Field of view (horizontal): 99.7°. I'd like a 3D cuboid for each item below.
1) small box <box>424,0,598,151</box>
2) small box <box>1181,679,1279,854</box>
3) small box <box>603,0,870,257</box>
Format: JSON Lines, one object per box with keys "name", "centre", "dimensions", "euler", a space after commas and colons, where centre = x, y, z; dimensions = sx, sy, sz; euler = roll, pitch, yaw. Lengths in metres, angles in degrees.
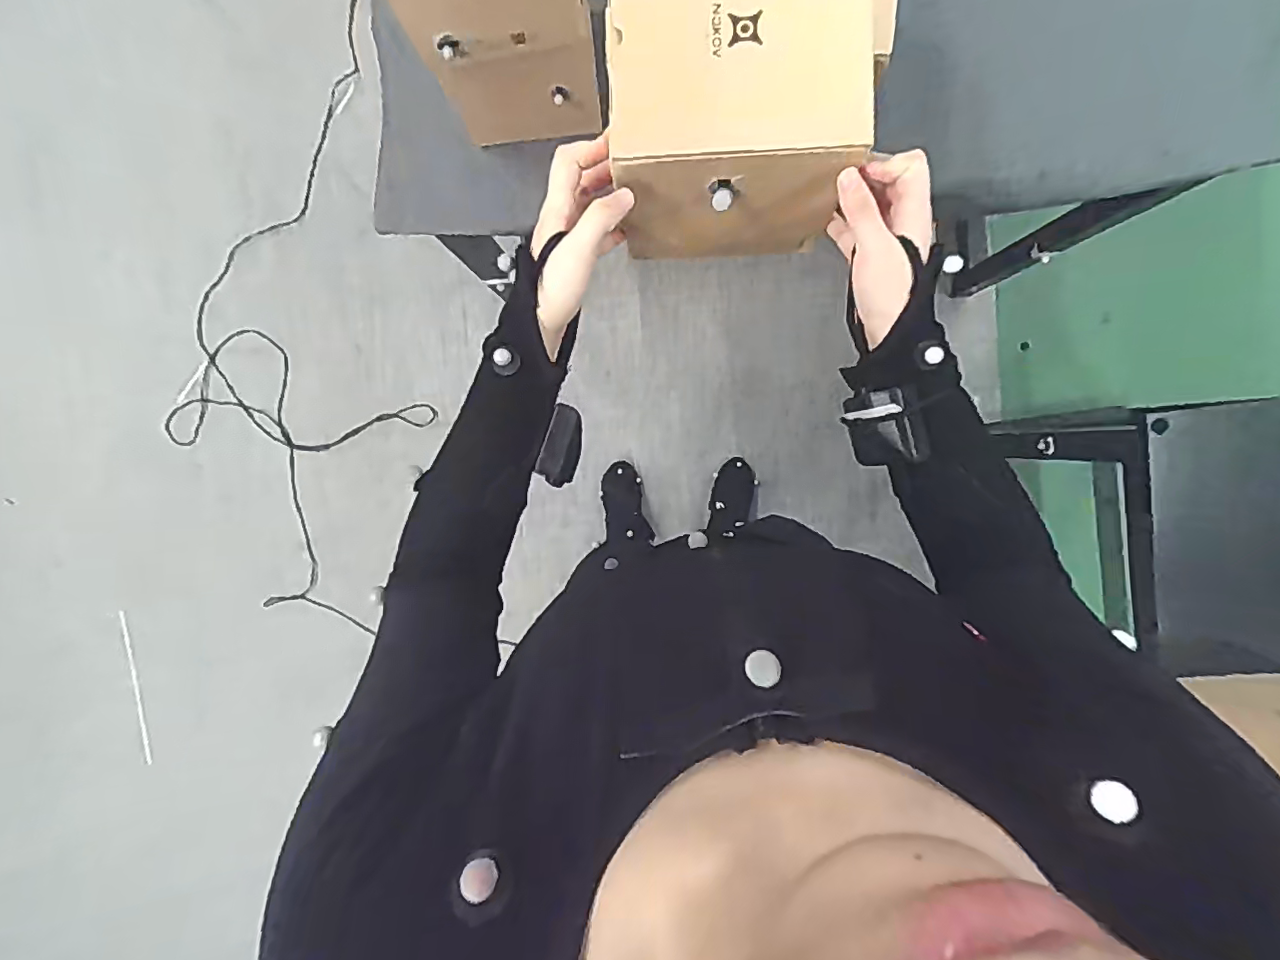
{"name": "small box", "centre": [-0.148, -0.534, 0.653], "dimensions": [0.179, 0.176, 0.168], "euler": [-6, 91, 4]}
{"name": "small box", "centre": [0.827, 0.359, 0.665], "dimensions": [0.179, 0.176, 0.168], "euler": [-3, 94, 3]}
{"name": "small box", "centre": [0.068, -0.294, 0.435], "dimensions": [0.179, 0.176, 0.168], "euler": [-1, 91, 6]}
